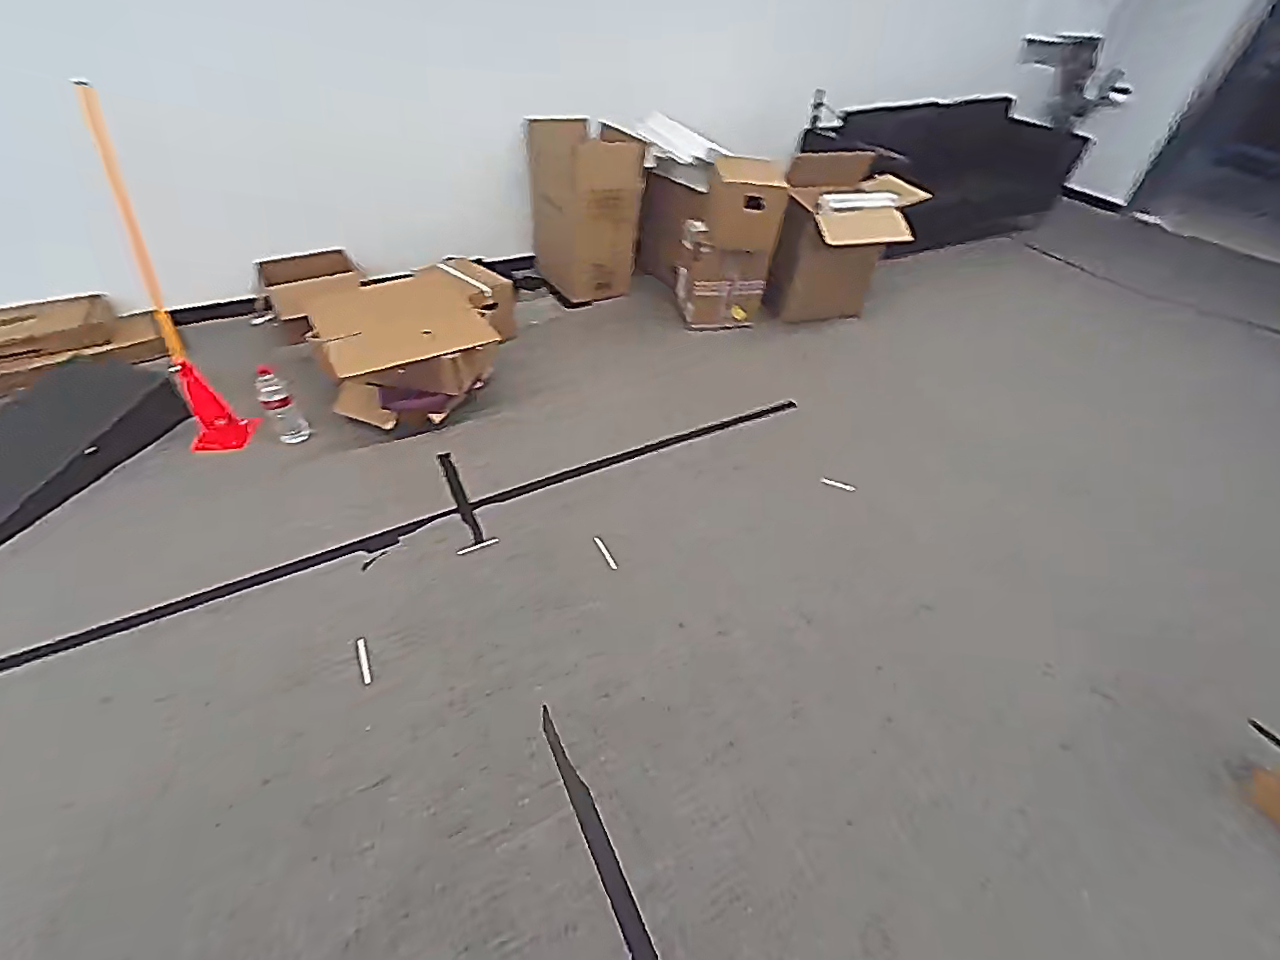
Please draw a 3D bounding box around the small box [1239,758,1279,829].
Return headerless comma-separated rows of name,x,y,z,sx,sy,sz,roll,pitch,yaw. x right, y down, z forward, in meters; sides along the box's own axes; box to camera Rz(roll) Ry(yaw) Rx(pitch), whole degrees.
small box,1.711,0.809,1.367,0.168,0.176,0.179,-19,48,-23
